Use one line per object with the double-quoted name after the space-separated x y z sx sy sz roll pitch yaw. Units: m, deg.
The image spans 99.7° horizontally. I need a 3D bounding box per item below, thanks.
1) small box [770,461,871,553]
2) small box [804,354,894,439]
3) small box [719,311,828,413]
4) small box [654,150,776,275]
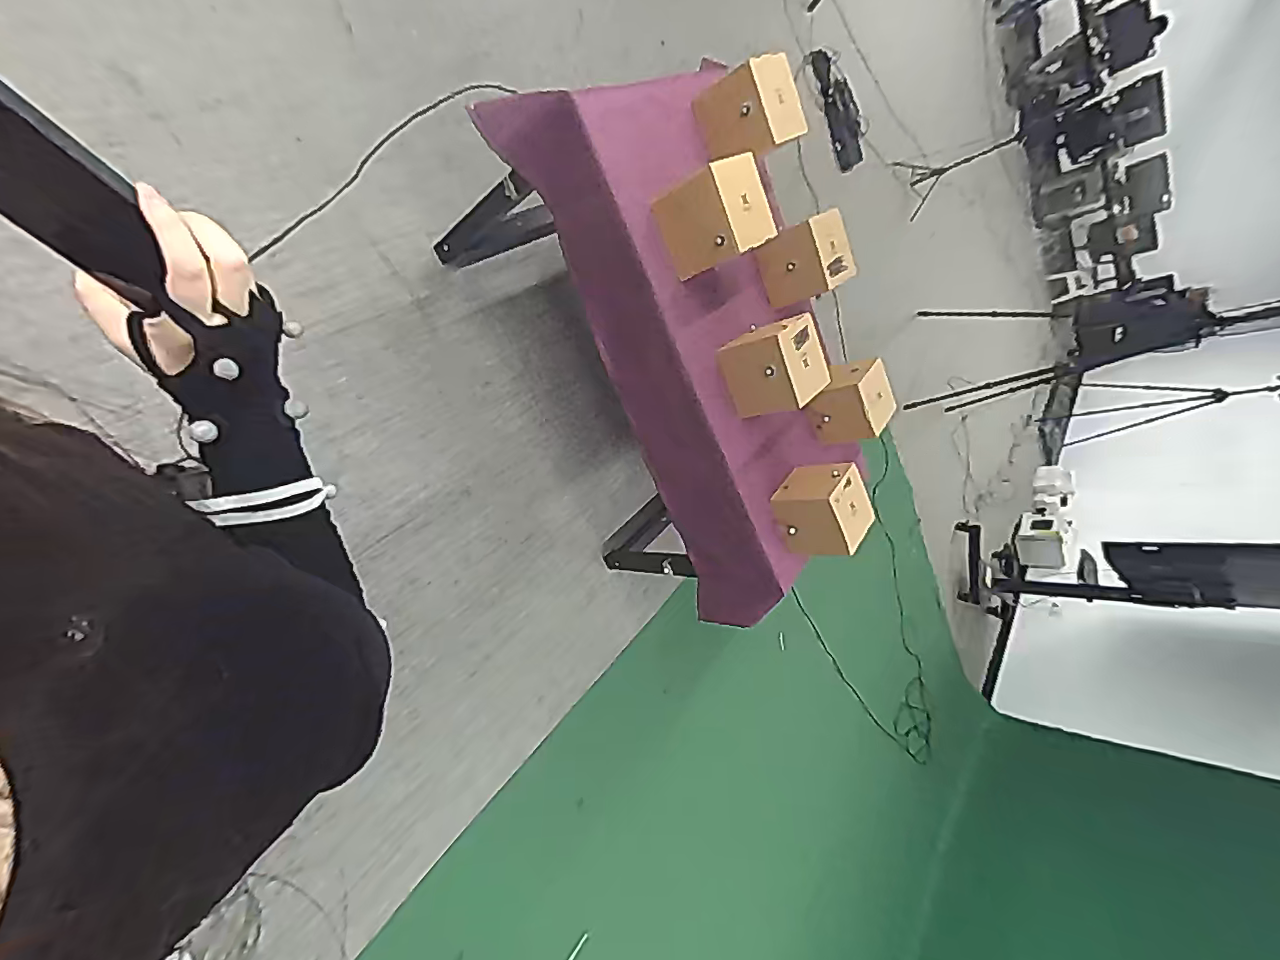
0.464 0.067 1.393 0.168 0.176 0.179 -42 115 -36 "small box"
0.583 -0.231 1.521 0.179 0.176 0.168 -43 115 -35 "small box"
0.313 -0.275 1.279 0.168 0.176 0.179 -37 113 -37 "small box"
0.157 -0.566 1.156 0.168 0.176 0.179 -39 114 -37 "small box"
